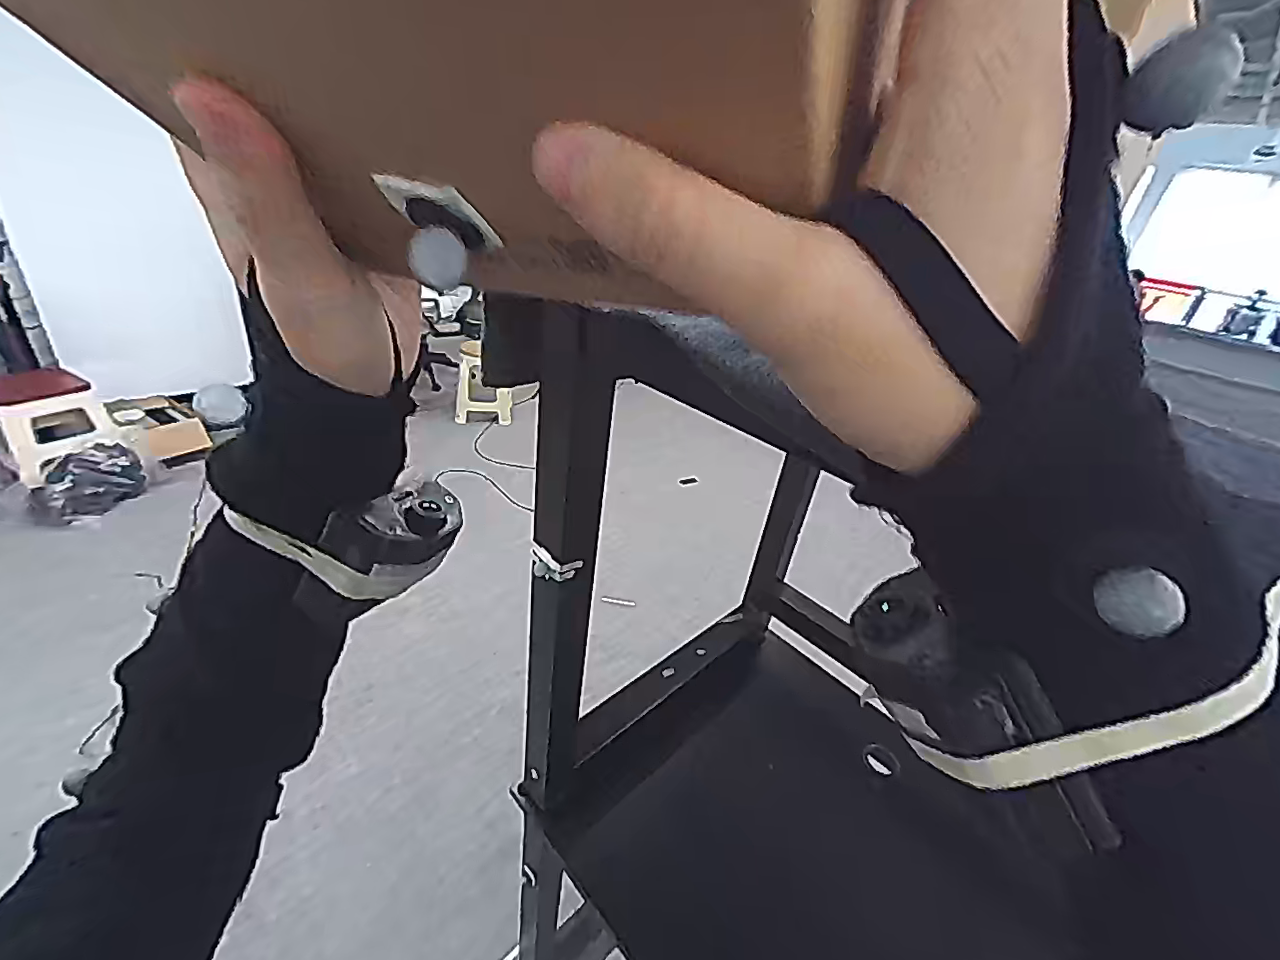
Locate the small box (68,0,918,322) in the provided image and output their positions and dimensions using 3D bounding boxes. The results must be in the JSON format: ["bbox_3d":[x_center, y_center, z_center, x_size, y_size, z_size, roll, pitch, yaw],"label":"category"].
[{"bbox_3d":[-0.025,-0.158,0.108,0.168,0.179,0.176,12,-8,21],"label":"small box"}]
